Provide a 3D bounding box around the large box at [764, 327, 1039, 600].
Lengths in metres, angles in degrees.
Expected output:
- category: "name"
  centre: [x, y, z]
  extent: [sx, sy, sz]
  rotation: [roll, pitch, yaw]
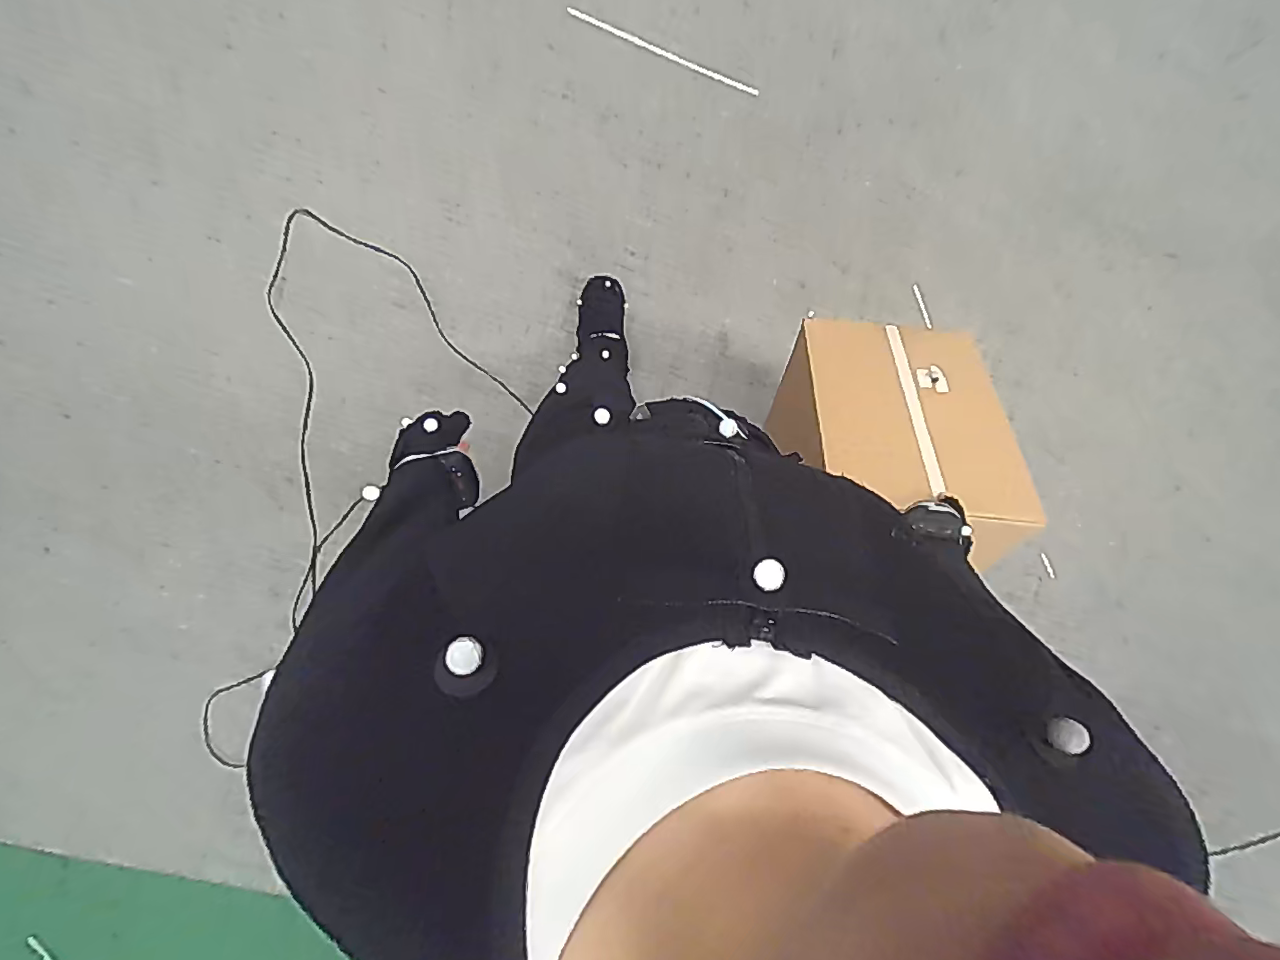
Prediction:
- category: "large box"
  centre: [0.429, -0.025, 1.011]
  extent: [0.320, 0.408, 0.320]
  rotation: [5, 144, -1]
